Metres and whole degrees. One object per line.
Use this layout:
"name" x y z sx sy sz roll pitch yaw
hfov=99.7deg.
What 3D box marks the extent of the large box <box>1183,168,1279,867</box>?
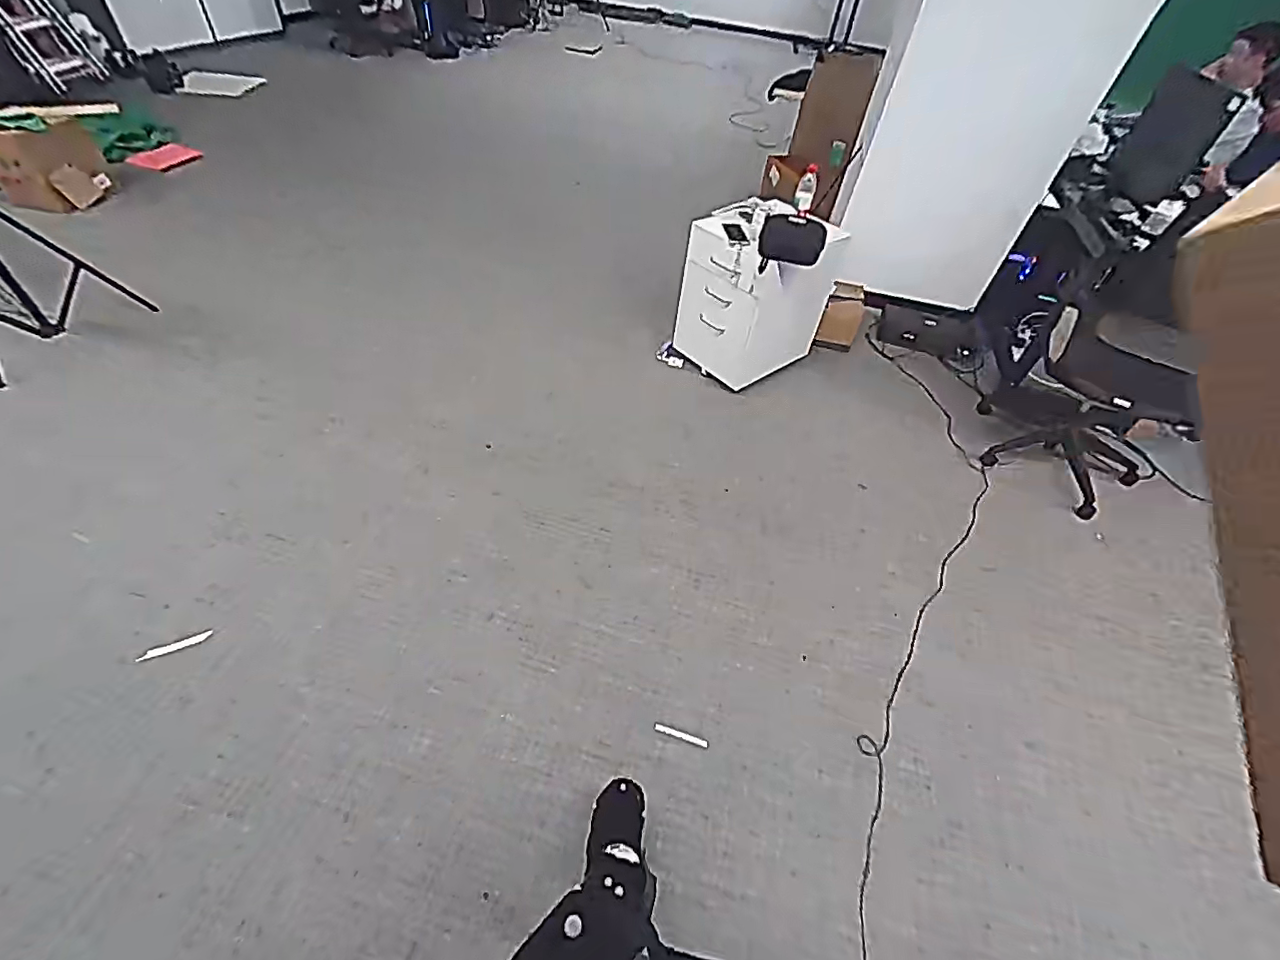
"large box" 0.524 0.003 0.248 0.320 0.408 0.320 -31 16 -29
